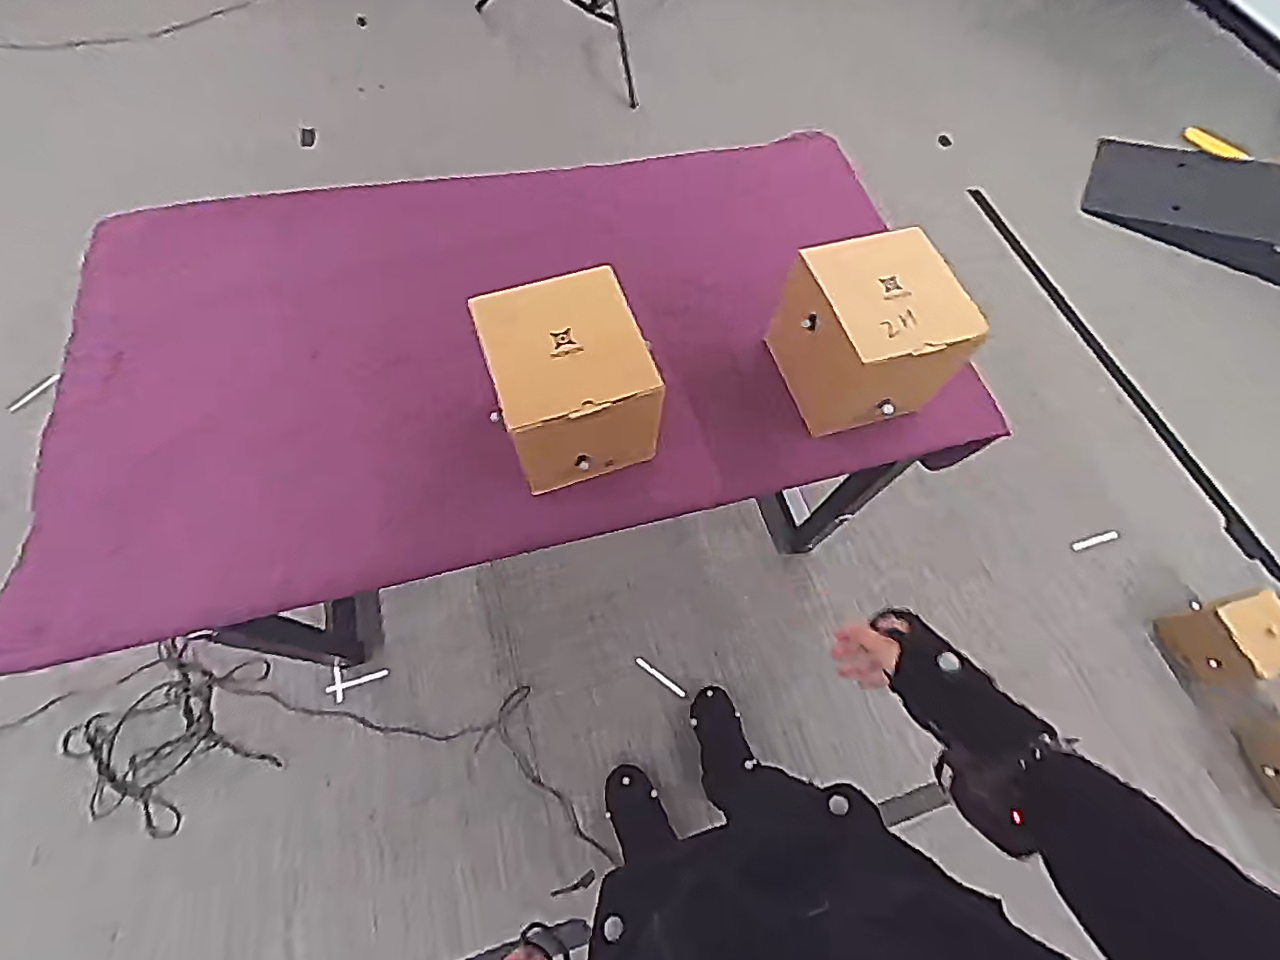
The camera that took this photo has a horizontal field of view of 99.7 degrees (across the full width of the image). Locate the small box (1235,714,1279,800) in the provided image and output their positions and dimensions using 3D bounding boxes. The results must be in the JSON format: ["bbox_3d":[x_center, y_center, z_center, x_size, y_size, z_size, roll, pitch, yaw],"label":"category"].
[{"bbox_3d":[1.542,0.637,1.221,0.168,0.176,0.179,-10,68,-8],"label":"small box"}]

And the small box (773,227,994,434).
[{"bbox_3d":[0.291,-0.186,0.696,0.168,0.176,0.179,-15,68,-9],"label":"small box"}]

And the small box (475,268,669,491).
[{"bbox_3d":[-0.080,-0.112,0.642,0.168,0.176,0.179,-18,70,-11],"label":"small box"}]

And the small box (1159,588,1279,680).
[{"bbox_3d":[1.444,0.383,1.326,0.179,0.176,0.168,-15,69,-11],"label":"small box"}]
